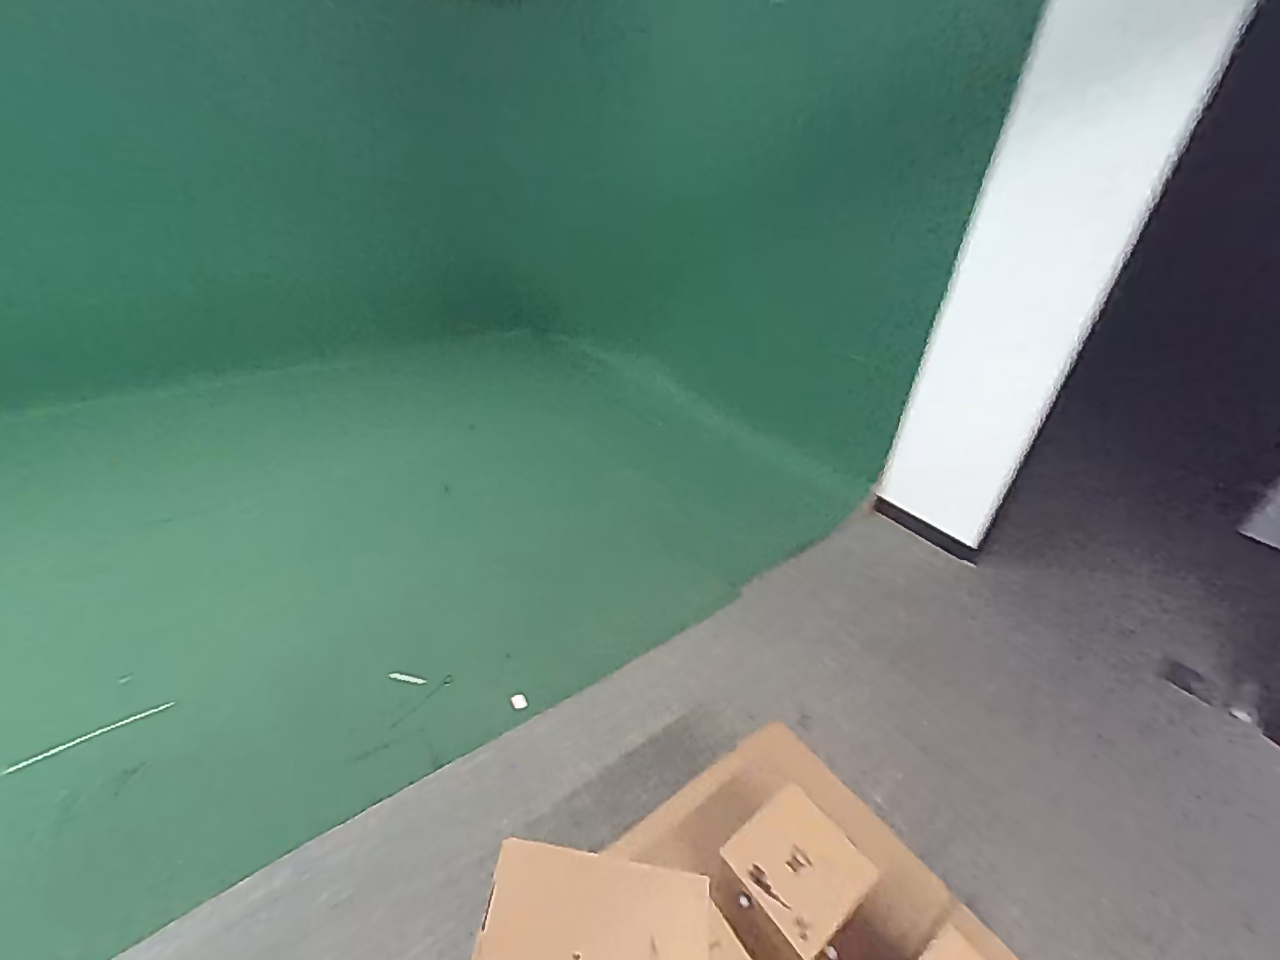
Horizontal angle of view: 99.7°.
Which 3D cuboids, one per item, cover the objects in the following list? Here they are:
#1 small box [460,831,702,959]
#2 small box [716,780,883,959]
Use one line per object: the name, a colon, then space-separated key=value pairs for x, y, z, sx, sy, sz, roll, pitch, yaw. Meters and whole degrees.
small box: x=-0.059 y=0.413 z=0.436 sx=0.179 sy=0.176 sz=0.168 roll=14 pitch=43 yaw=-4
small box: x=0.235 y=0.621 z=0.836 sx=0.179 sy=0.176 sz=0.168 roll=-21 pitch=39 yaw=-32
